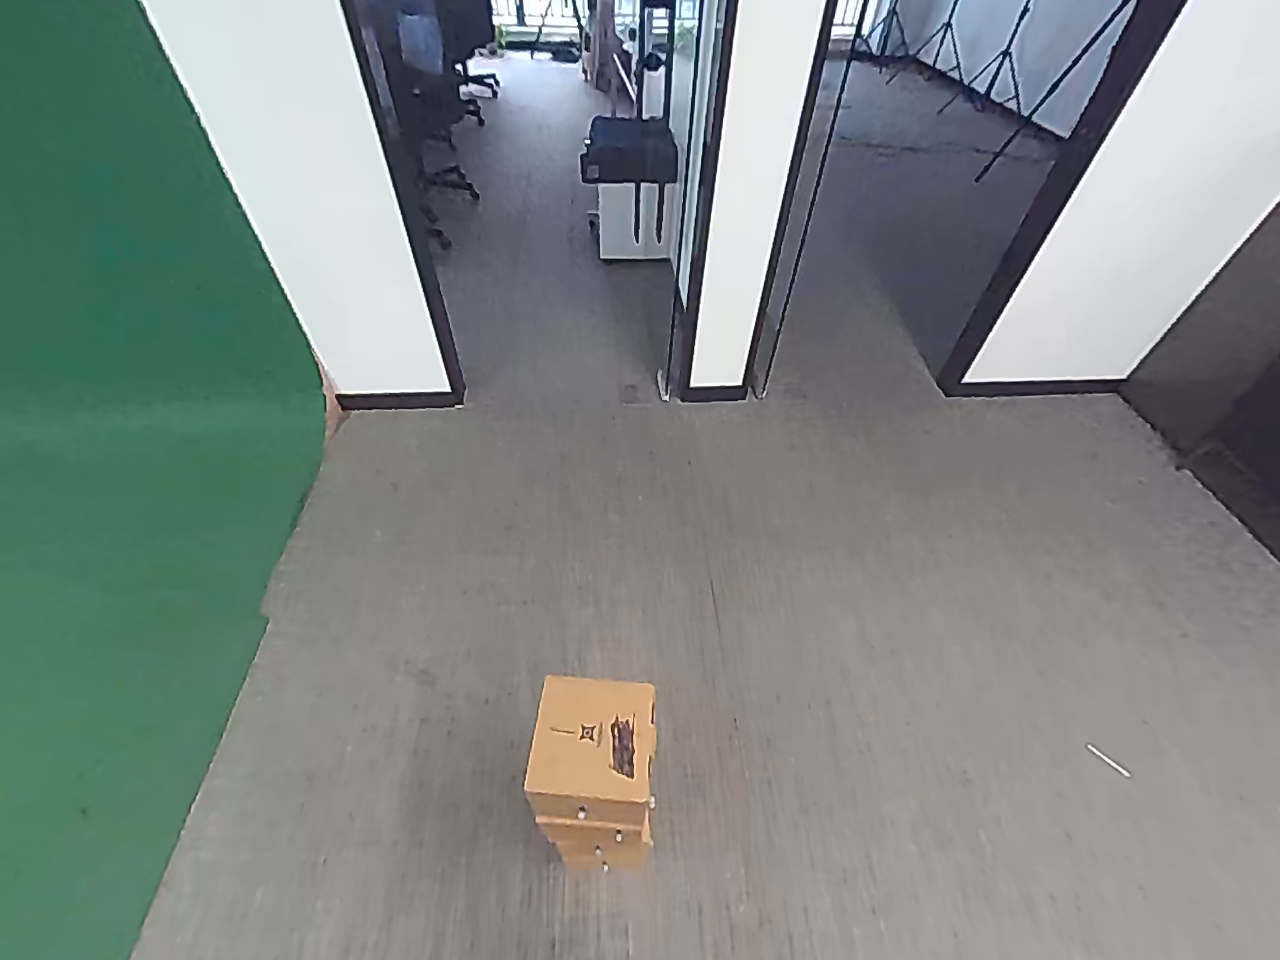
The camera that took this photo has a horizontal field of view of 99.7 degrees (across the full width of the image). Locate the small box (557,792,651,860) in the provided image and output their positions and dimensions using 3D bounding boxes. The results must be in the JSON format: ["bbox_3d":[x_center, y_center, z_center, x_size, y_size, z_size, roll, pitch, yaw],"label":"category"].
[{"bbox_3d":[-0.067,0.662,1.097,0.179,0.176,0.168,0,48,-1],"label":"small box"}]

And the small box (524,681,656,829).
[{"bbox_3d":[-0.069,0.439,0.858,0.179,0.176,0.168,3,47,3],"label":"small box"}]

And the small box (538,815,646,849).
[{"bbox_3d":[-0.076,0.553,0.976,0.179,0.176,0.168,3,48,0],"label":"small box"}]
